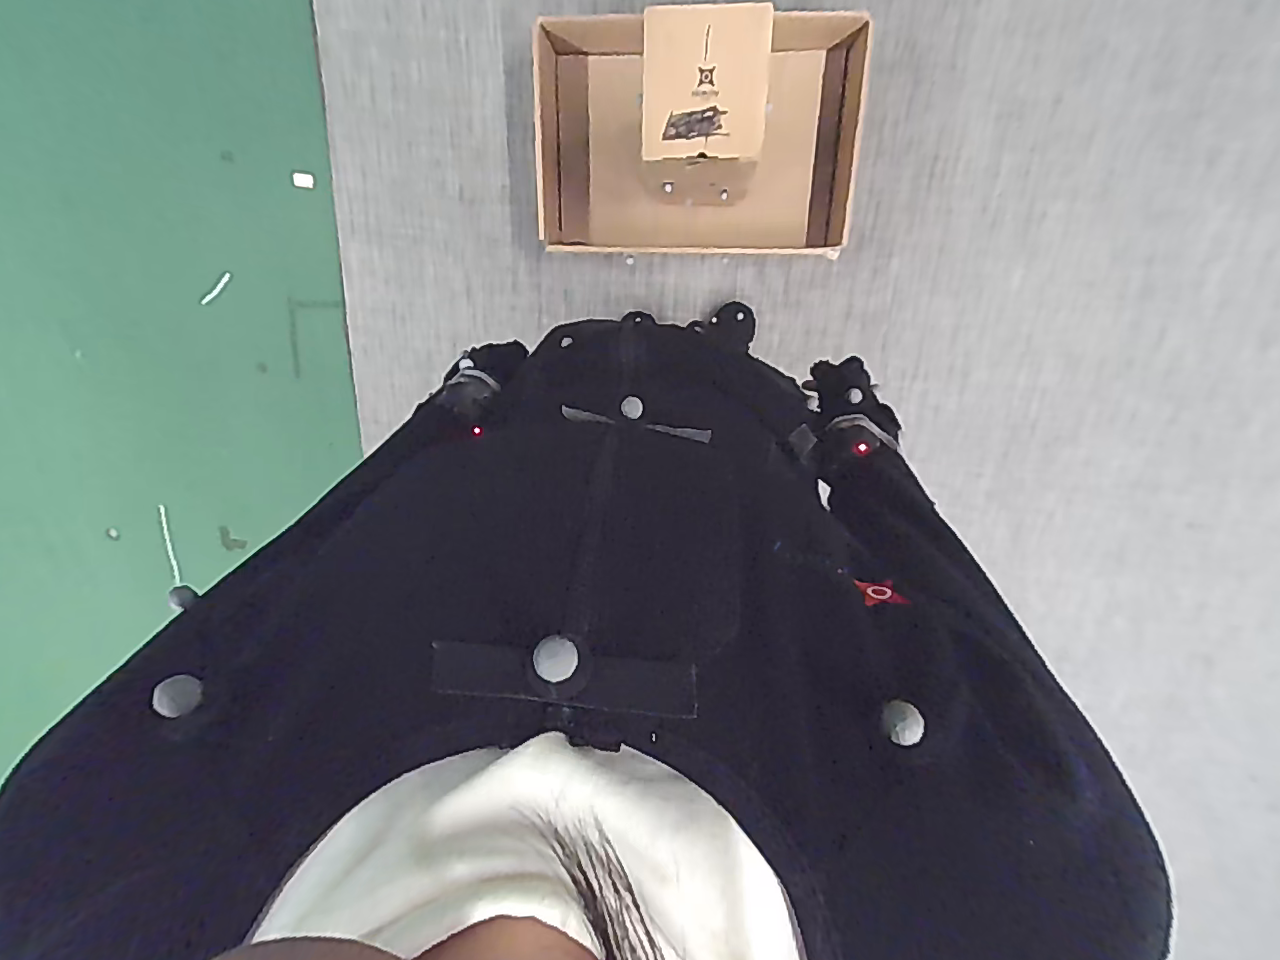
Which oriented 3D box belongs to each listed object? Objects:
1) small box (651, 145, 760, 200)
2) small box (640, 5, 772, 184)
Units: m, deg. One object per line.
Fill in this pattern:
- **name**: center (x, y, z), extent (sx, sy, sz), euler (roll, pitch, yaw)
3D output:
- **small box**: center (0.109, -0.589, 0.929), extent (0.179, 0.176, 0.168), euler (-1, 108, 6)
- **small box**: center (0.092, -0.544, 0.788), extent (0.168, 0.176, 0.179), euler (3, 107, 4)
